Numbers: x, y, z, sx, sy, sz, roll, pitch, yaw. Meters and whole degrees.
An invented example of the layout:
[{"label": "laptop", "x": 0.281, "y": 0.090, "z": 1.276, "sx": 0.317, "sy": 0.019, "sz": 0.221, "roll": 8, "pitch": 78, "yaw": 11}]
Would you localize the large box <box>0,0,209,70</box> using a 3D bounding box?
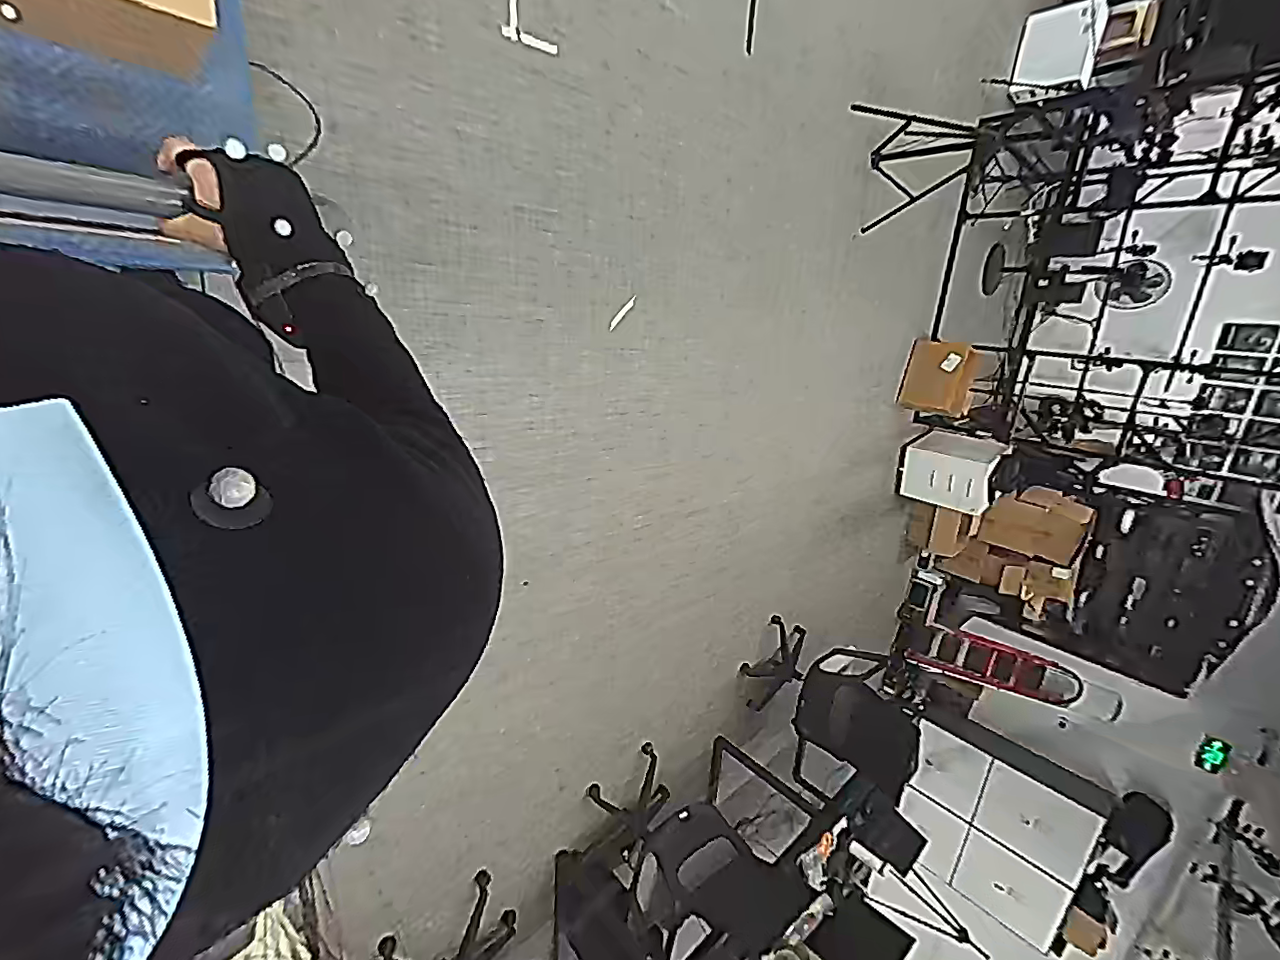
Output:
[{"label": "large box", "x": -0.813, "y": -0.774, "z": 0.656, "sx": 0.408, "sy": 0.320, "sz": 0.320, "roll": -10, "pitch": 112, "yaw": -41}]
